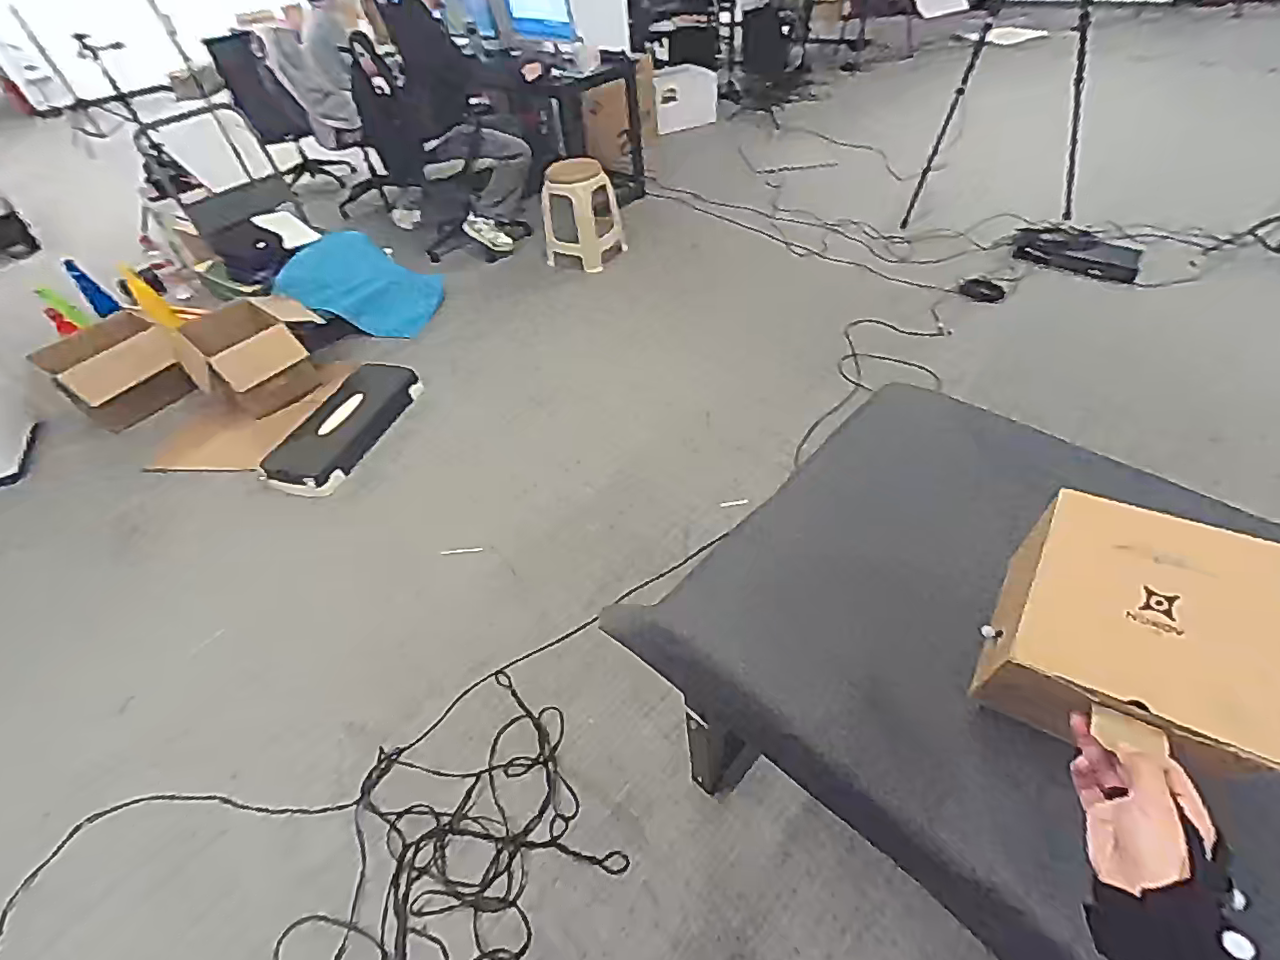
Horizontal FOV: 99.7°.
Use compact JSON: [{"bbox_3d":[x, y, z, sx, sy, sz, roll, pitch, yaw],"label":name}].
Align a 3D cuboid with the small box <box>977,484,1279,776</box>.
[{"bbox_3d":[0.426,0.137,0.485,0.168,0.176,0.179,20,66,28],"label":"small box"}]
